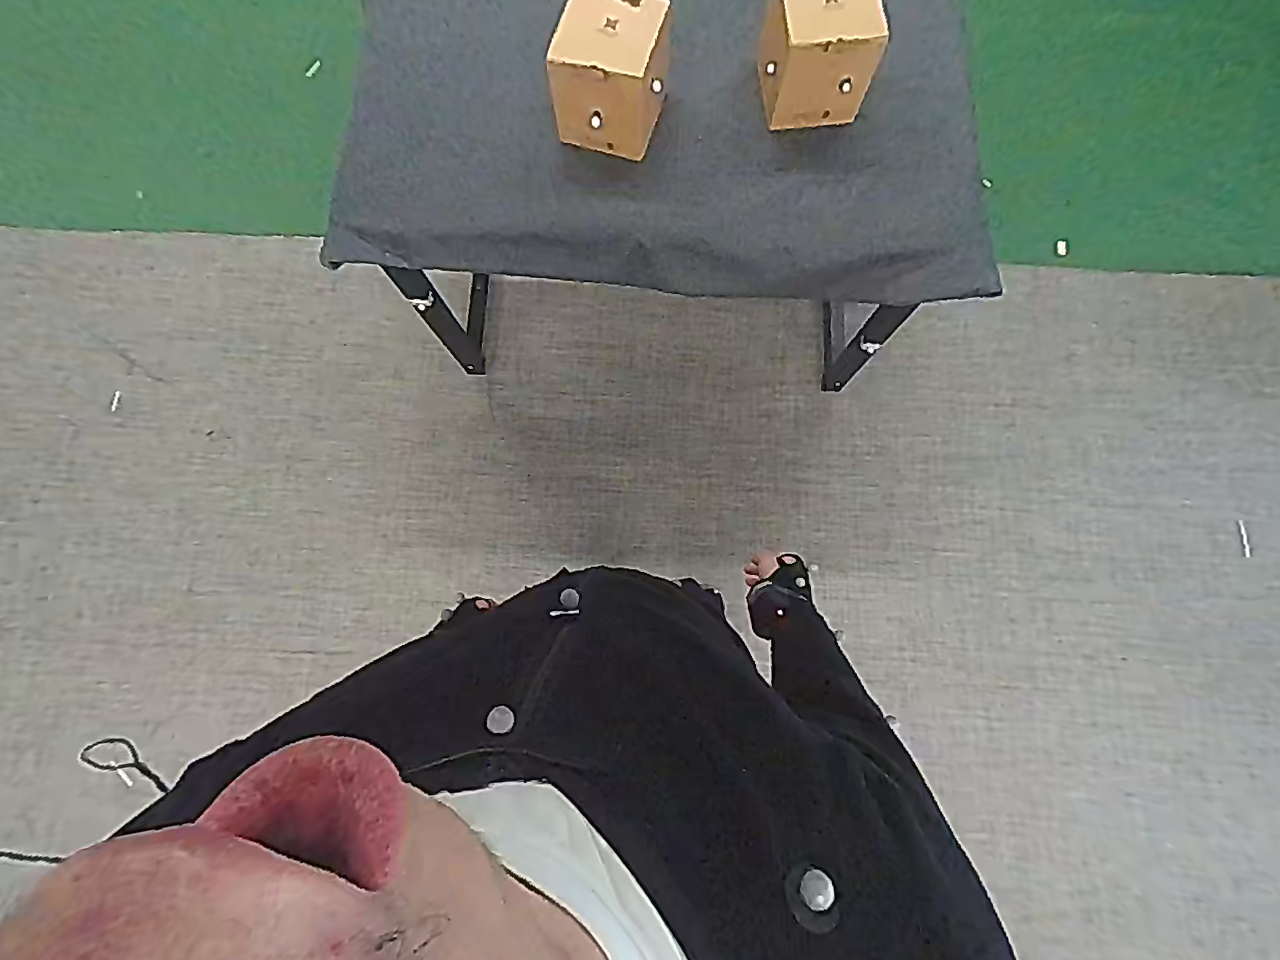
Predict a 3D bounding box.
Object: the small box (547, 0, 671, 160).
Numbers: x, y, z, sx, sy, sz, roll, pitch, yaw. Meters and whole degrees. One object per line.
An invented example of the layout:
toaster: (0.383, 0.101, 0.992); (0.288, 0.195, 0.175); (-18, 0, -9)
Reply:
small box: (-0.049, -0.718, 0.968); (0.168, 0.176, 0.179); (17, 78, 3)

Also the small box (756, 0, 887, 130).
small box: (0.318, -0.770, 0.984); (0.168, 0.176, 0.179); (-5, 76, -3)
